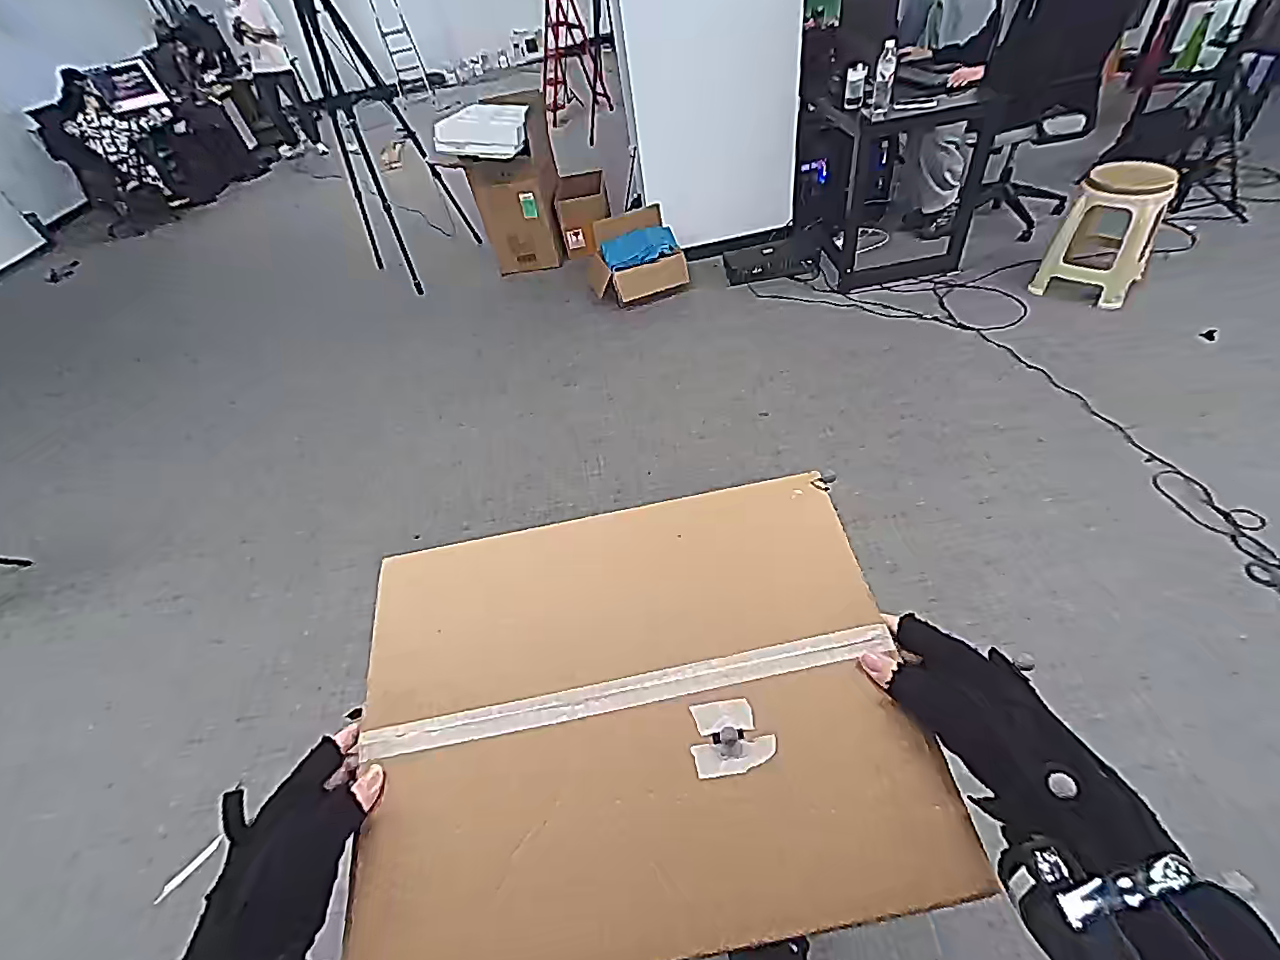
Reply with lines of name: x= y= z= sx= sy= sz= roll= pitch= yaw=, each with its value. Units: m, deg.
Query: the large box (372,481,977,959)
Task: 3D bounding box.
large box: x=0.010 y=0.246 z=0.545 sx=0.408 sy=0.320 sz=0.320 roll=-12 pitch=57 yaw=-1
